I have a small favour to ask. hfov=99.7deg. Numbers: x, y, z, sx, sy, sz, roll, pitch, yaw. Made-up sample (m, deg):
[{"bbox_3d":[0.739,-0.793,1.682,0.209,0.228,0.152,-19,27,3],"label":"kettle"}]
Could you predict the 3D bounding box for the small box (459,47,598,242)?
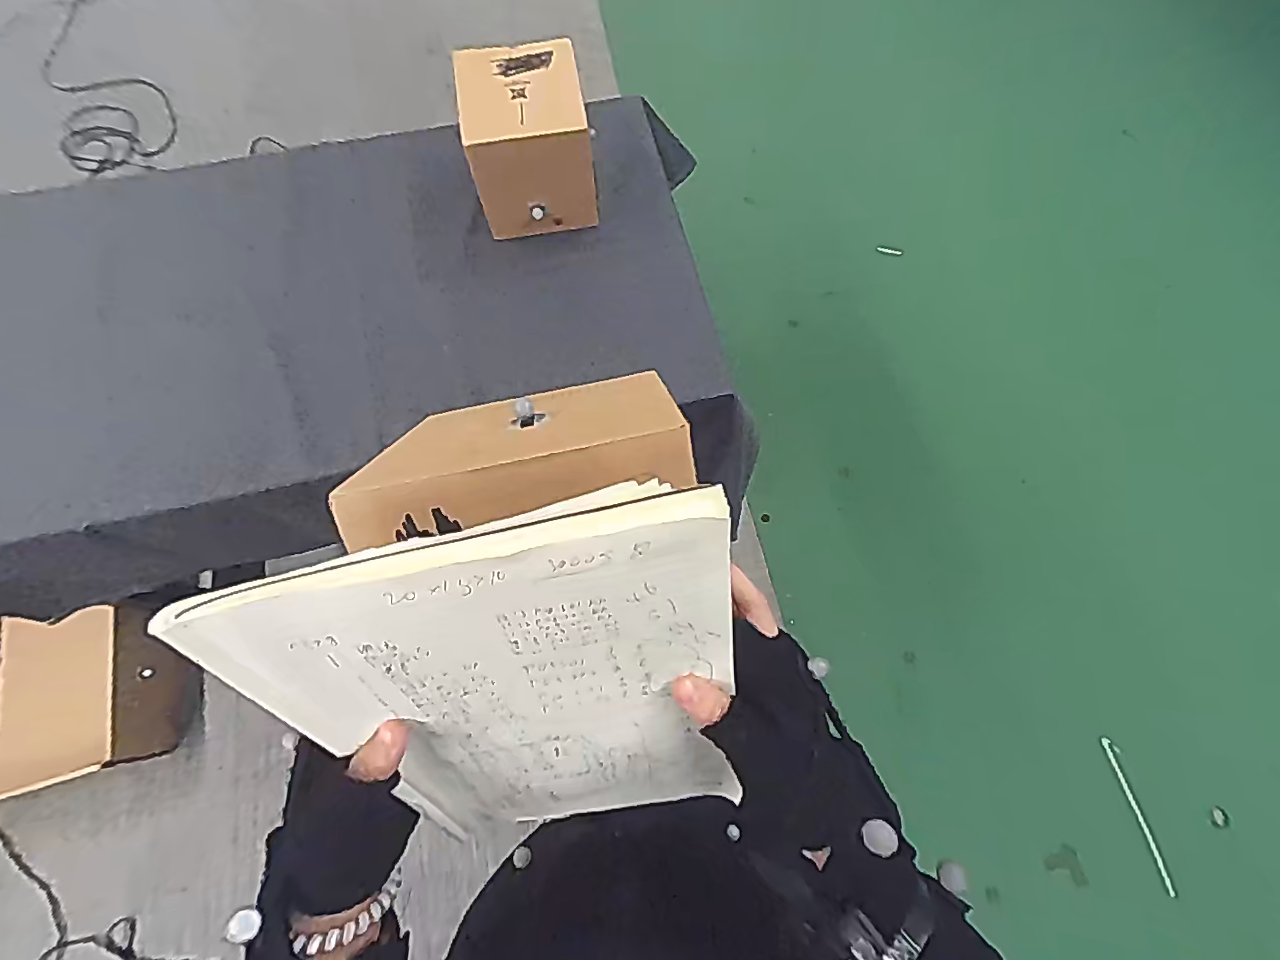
[{"bbox_3d":[-0.158,-0.488,0.800,0.168,0.176,0.179,-9,72,-3],"label":"small box"}]
